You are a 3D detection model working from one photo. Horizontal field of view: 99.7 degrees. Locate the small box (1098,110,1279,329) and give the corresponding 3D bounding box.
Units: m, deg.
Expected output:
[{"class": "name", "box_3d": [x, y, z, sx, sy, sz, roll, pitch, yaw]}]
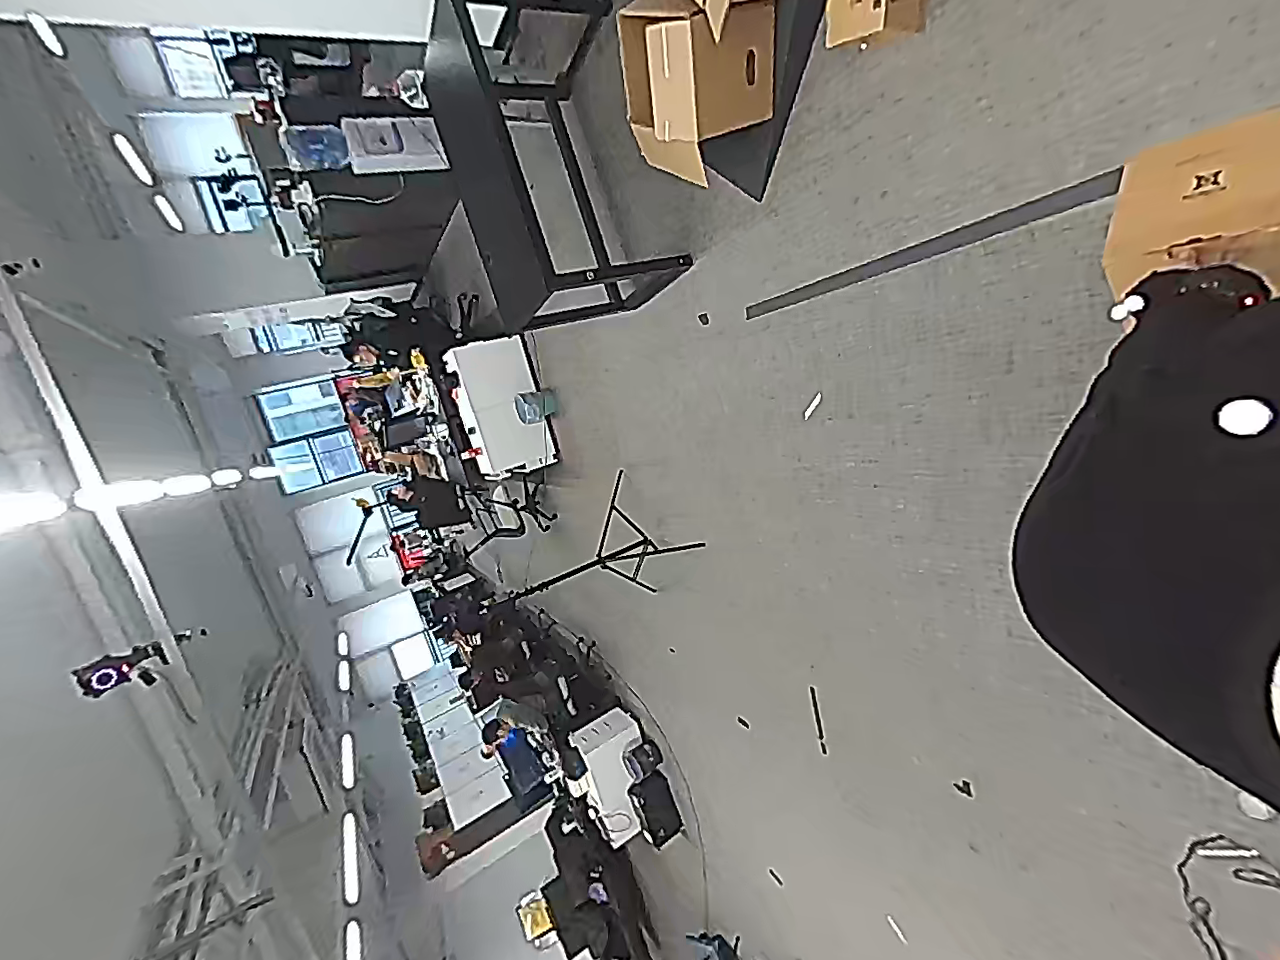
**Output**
[{"class": "small box", "box_3d": [0.713, -0.307, 0.676, 0.176, 0.179, 0.168, 32, 166, -34]}]
